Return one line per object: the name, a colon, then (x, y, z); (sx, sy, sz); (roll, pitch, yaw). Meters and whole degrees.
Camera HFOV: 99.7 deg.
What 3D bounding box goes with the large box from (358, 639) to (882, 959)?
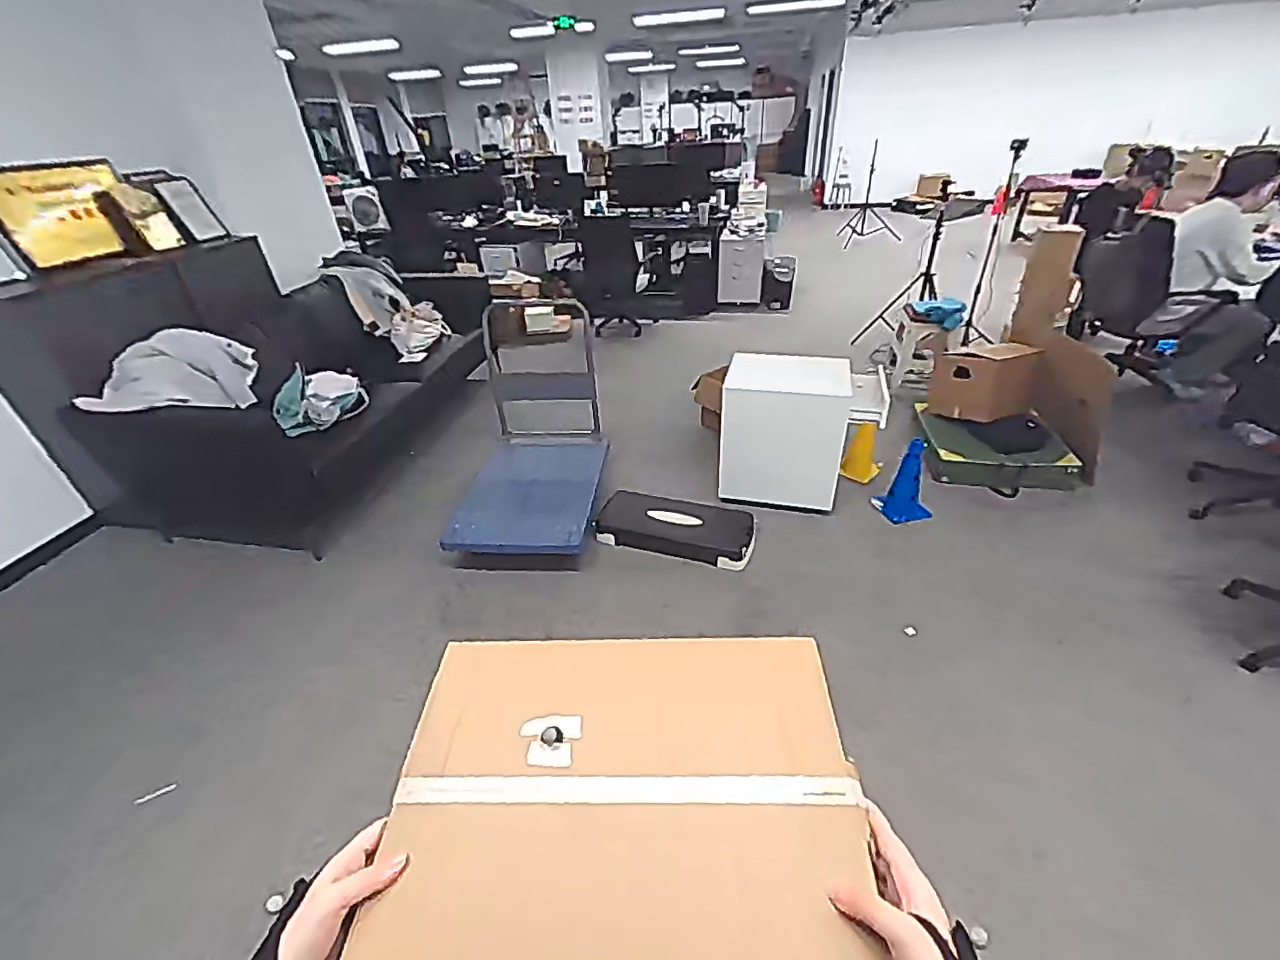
large box: (-0.003, 0.399, 0.585); (0.408, 0.320, 0.320); (-4, 39, 6)
